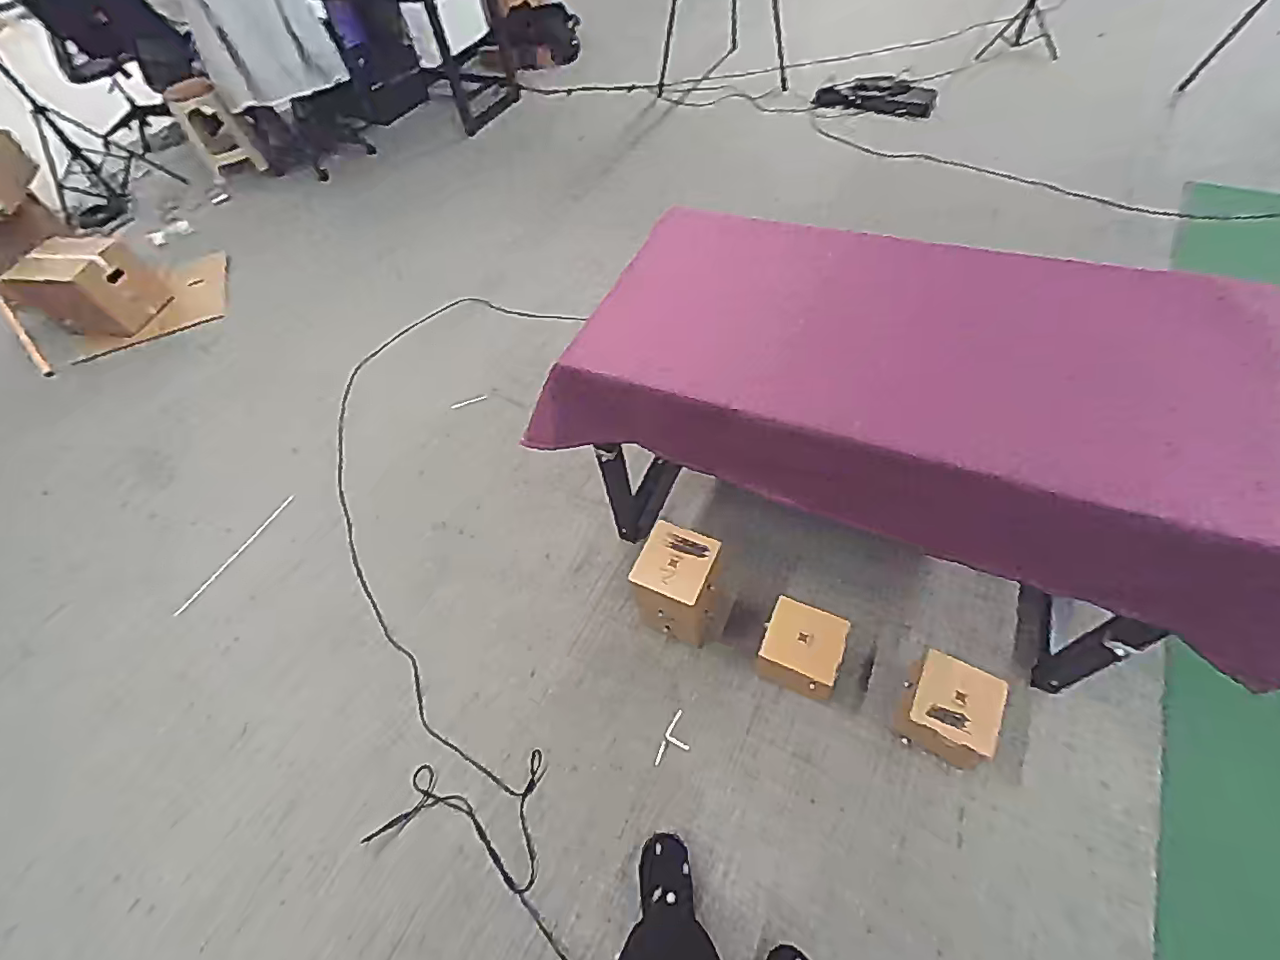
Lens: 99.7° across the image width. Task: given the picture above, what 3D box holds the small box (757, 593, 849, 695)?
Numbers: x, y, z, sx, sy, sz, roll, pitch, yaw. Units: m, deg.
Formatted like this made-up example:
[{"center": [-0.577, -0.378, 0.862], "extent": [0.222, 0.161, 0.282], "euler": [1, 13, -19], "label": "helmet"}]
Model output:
[{"center": [0.400, 0.414, 1.352], "extent": [0.179, 0.176, 0.168], "euler": [19, 61, 20], "label": "small box"}]
